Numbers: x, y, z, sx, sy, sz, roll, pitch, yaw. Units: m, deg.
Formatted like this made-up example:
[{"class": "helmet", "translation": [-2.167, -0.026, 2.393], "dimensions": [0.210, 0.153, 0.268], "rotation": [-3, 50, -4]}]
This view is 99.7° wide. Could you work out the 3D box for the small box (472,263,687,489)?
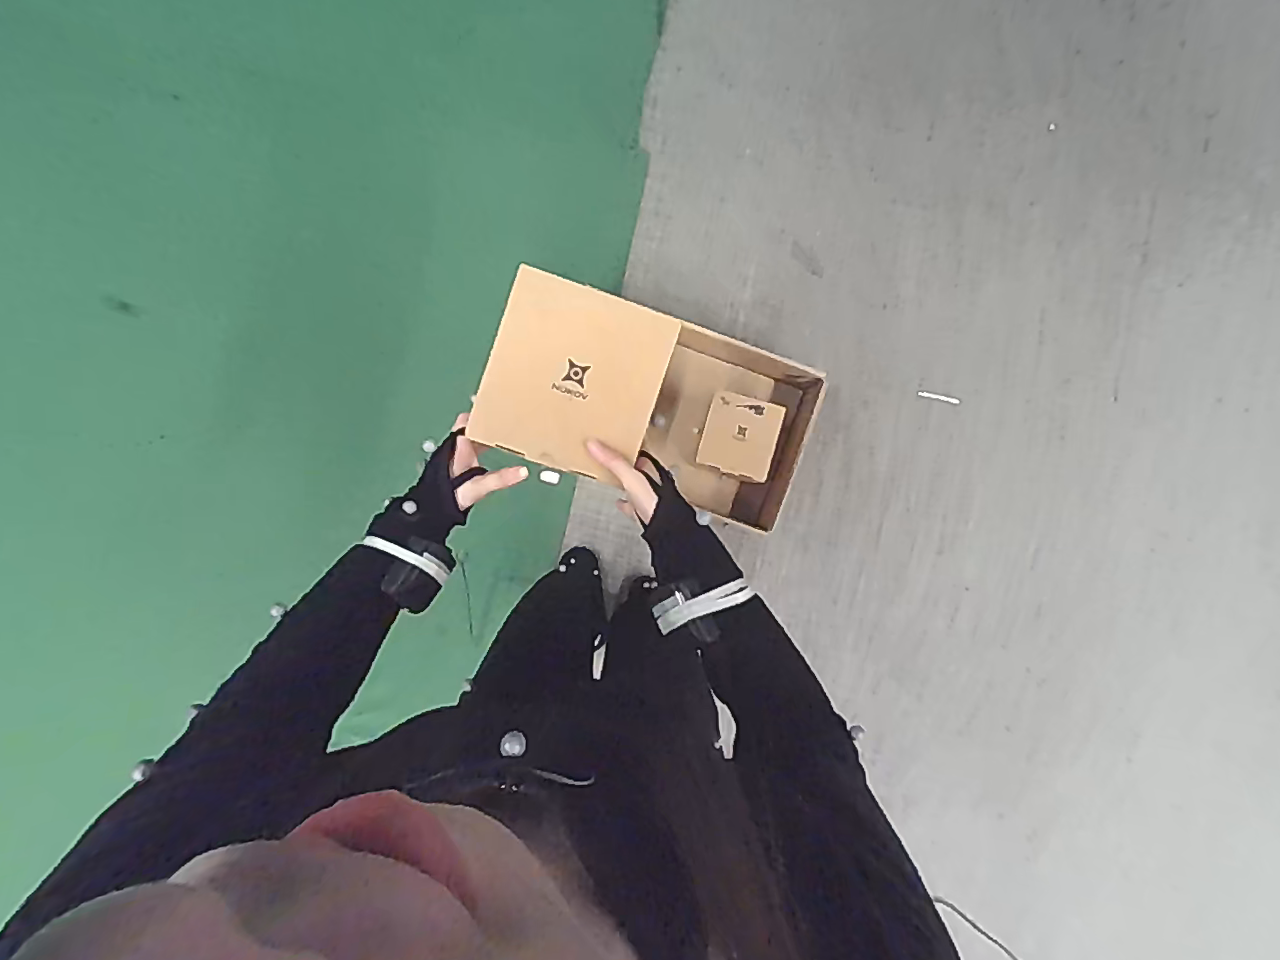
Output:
[{"class": "small box", "translation": [-0.064, -0.103, 0.594], "dimensions": [0.168, 0.176, 0.179], "rotation": [18, 92, -5]}]
